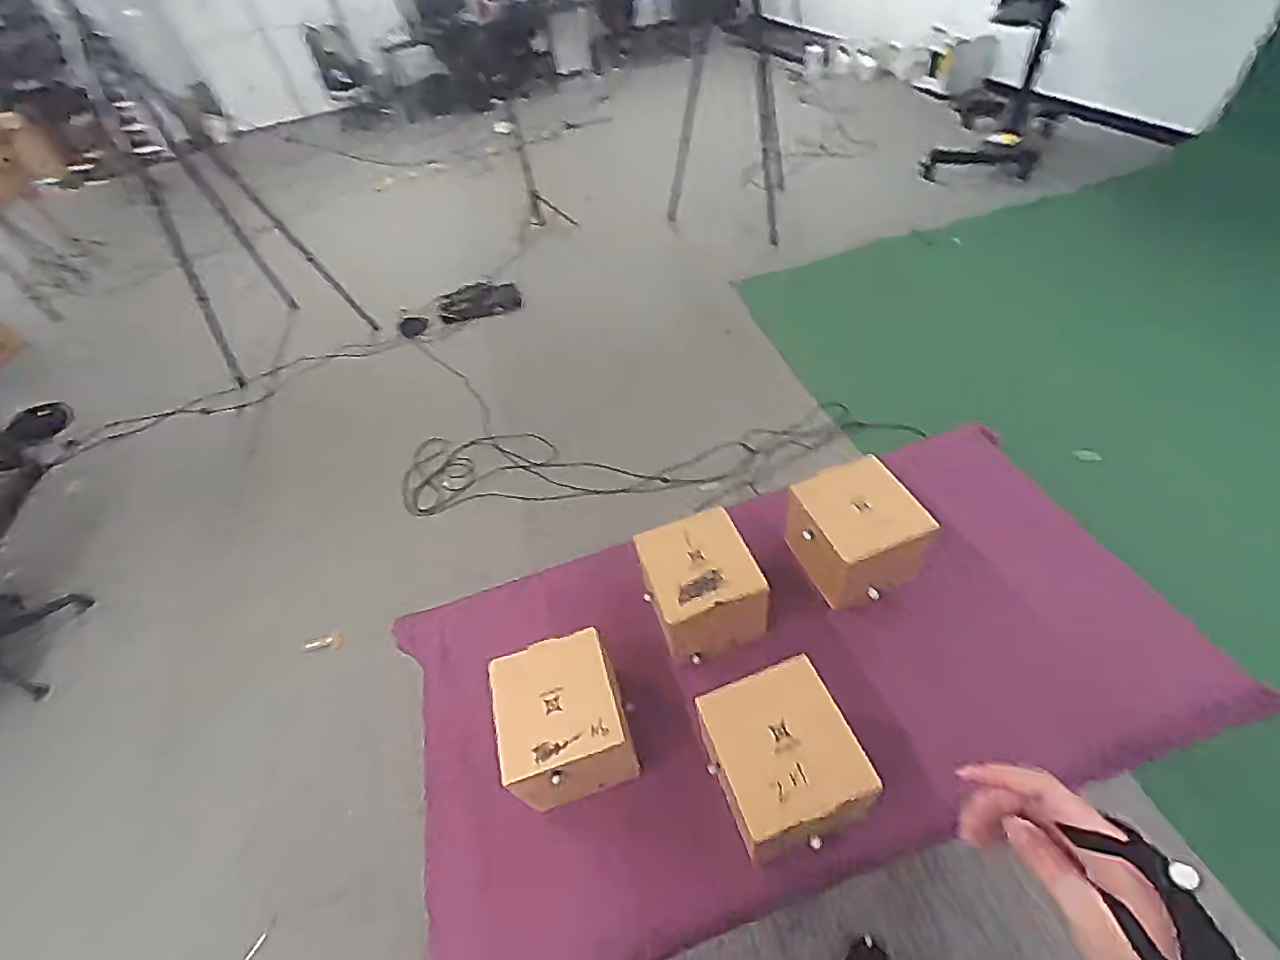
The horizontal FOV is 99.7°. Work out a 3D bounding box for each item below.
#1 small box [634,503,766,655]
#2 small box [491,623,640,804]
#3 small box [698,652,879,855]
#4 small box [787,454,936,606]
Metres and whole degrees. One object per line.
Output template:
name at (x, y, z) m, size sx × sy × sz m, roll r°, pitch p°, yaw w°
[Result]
small box at (0.103, 0.176, 0.923) m, size 0.168 × 0.176 × 0.179 m, roll -19°, pitch 48°, yaw -6°
small box at (-0.109, 0.349, 0.807) m, size 0.168 × 0.176 × 0.179 m, roll -18°, pitch 48°, yaw -4°
small box at (0.188, 0.371, 0.733) m, size 0.168 × 0.176 × 0.179 m, roll -19°, pitch 48°, yaw -6°
small box at (0.372, 0.089, 0.951) m, size 0.168 × 0.176 × 0.179 m, roll -20°, pitch 49°, yaw -6°
